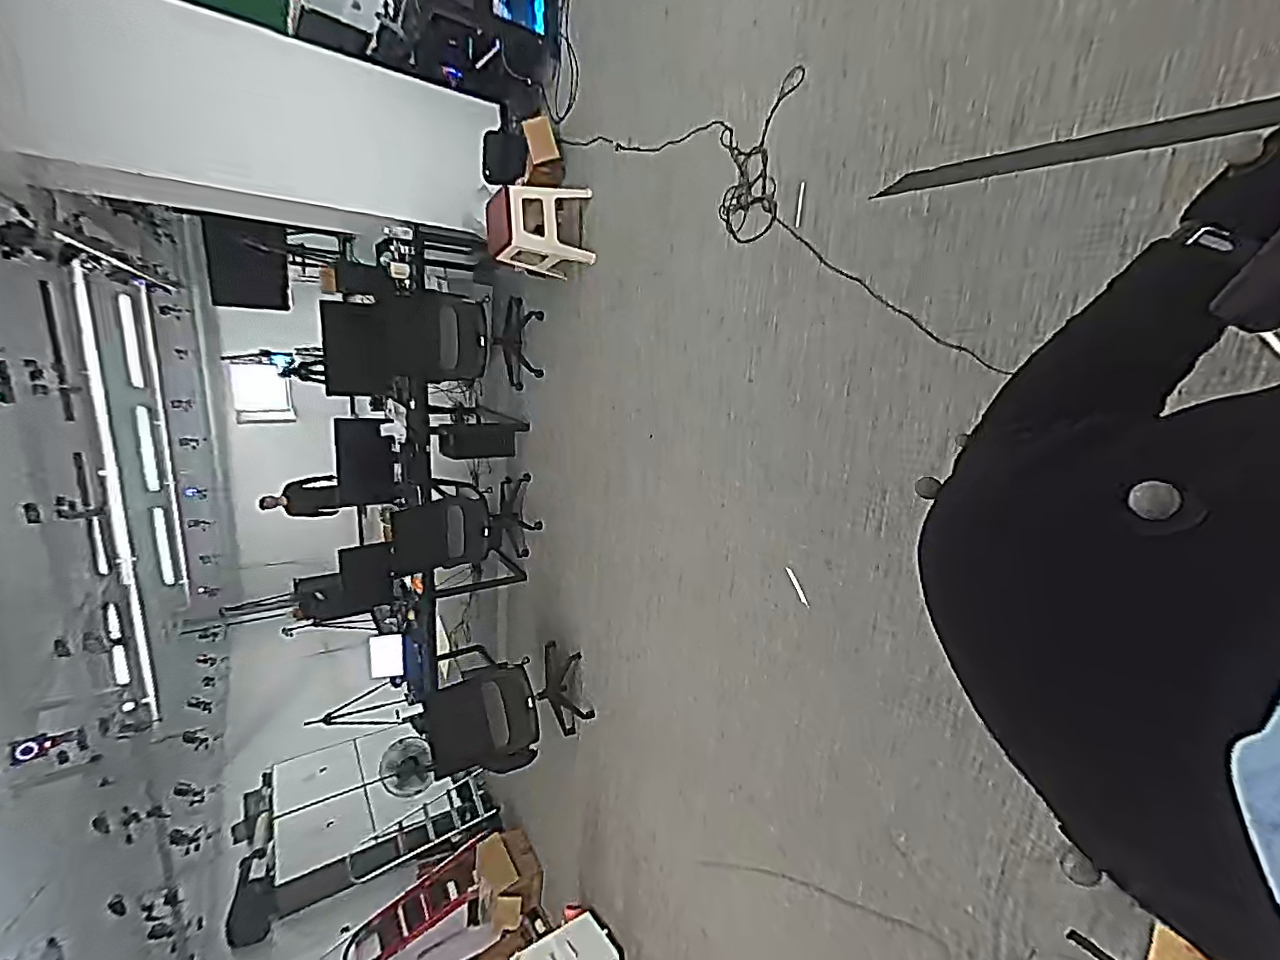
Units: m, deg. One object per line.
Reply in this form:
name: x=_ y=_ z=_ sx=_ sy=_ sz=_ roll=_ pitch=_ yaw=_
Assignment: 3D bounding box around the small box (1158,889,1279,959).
small box: x=1.155 y=0.975 z=1.066 sx=0.168 sy=0.176 sz=0.179 roll=14 pitch=106 yaw=54
